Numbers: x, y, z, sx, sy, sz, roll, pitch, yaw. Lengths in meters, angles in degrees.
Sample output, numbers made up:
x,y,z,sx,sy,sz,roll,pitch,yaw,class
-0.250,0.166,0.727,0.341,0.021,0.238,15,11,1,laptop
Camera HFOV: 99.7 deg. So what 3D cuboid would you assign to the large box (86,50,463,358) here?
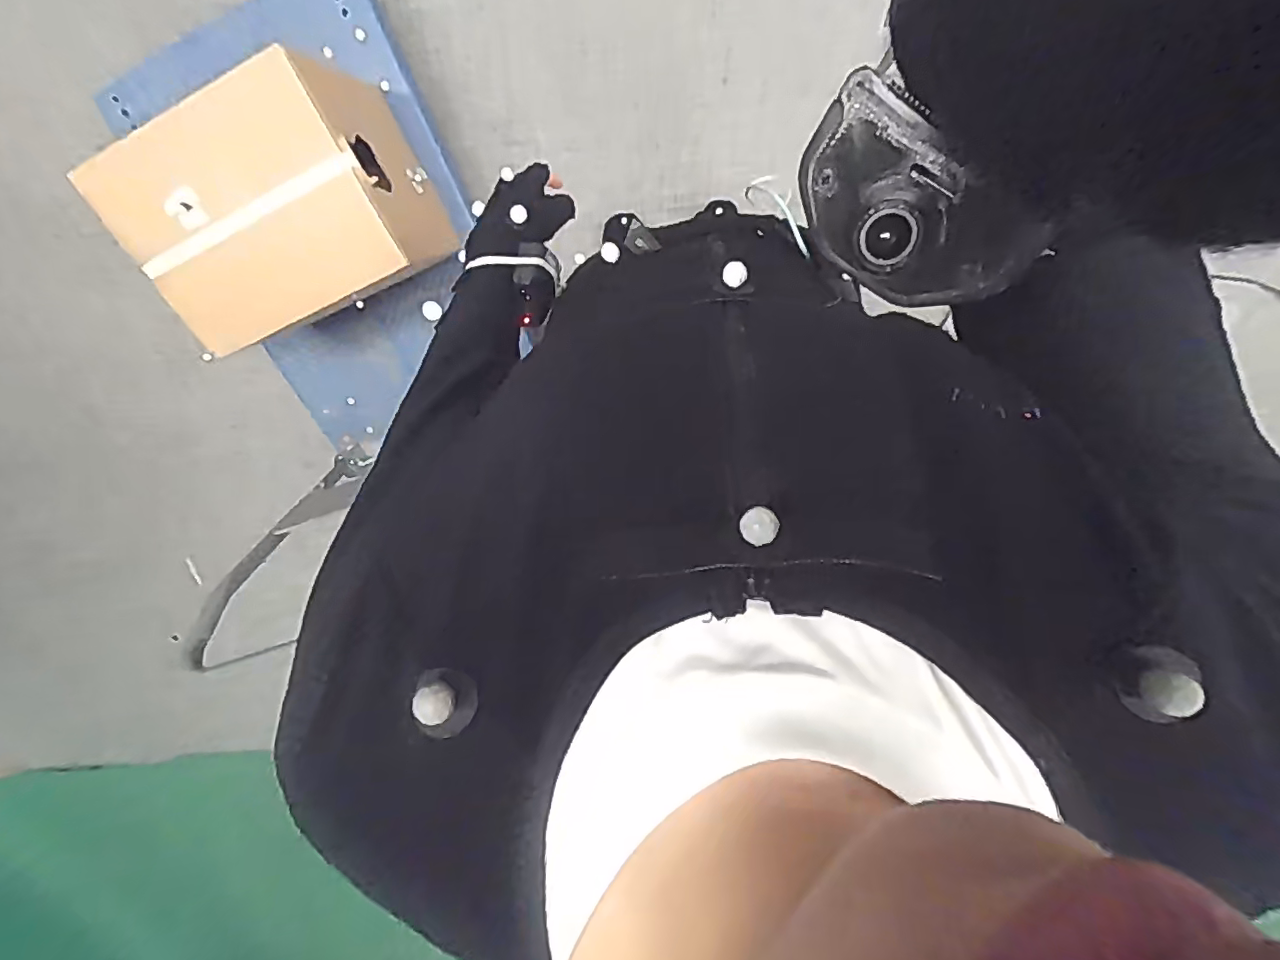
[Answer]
x,y,z,sx,sy,sz,roll,pitch,yaw,class
-0.609,-0.477,0.983,0.408,0.320,0.320,-20,114,12,large box
